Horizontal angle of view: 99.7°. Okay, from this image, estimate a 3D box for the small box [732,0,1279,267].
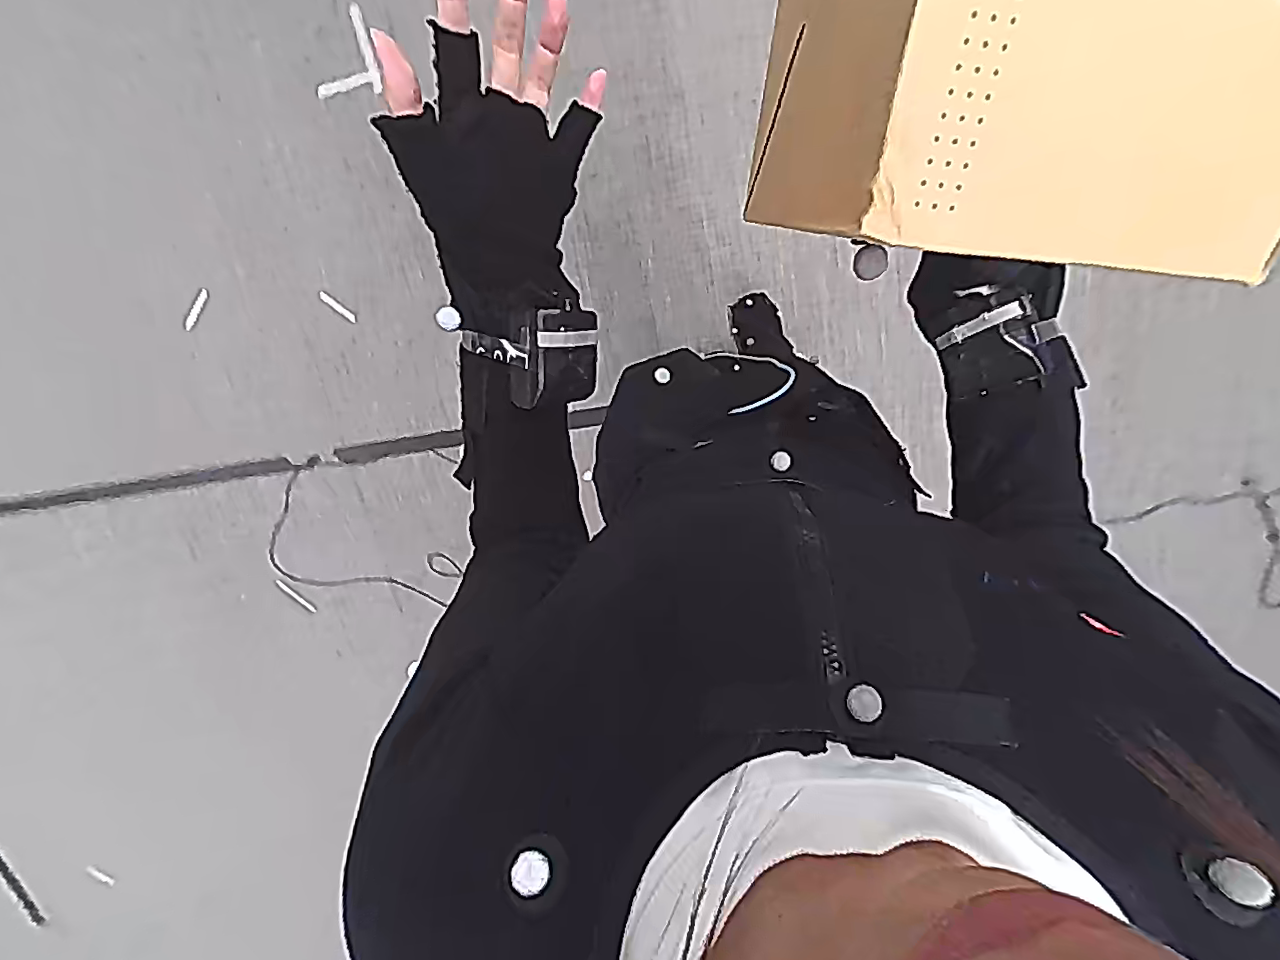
[{"bbox_3d":[0.149,-0.199,0.243,0.176,0.168,0.179,2,117,-6],"label":"small box"}]
